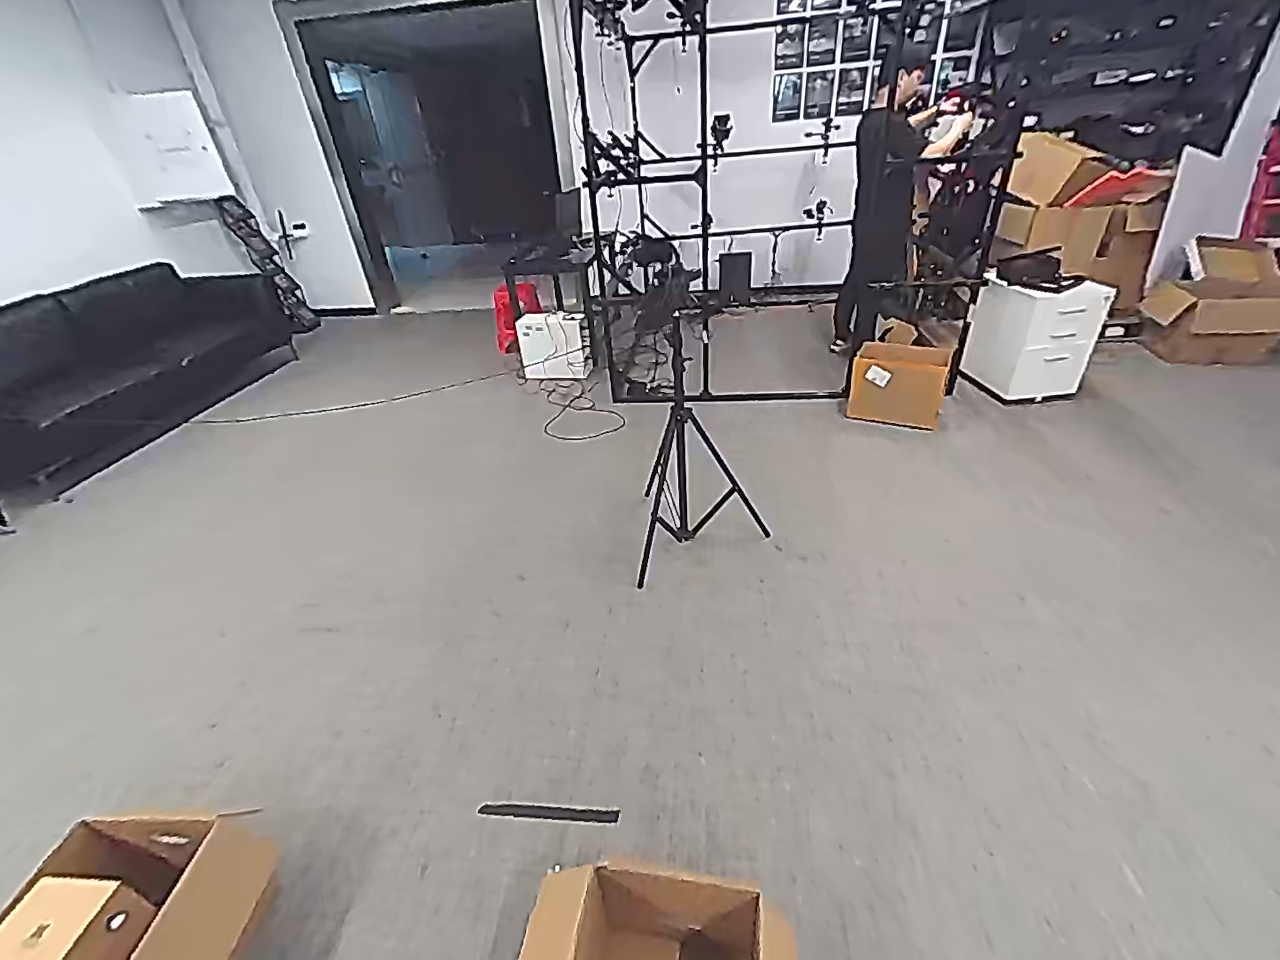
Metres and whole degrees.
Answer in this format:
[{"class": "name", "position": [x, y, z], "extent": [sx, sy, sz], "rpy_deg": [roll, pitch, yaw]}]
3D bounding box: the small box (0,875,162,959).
[{"class": "small box", "position": [-1.028, 0.854, 0.976], "extent": [0.168, 0.176, 0.179], "rpy_deg": [-2, 33, 7]}]
